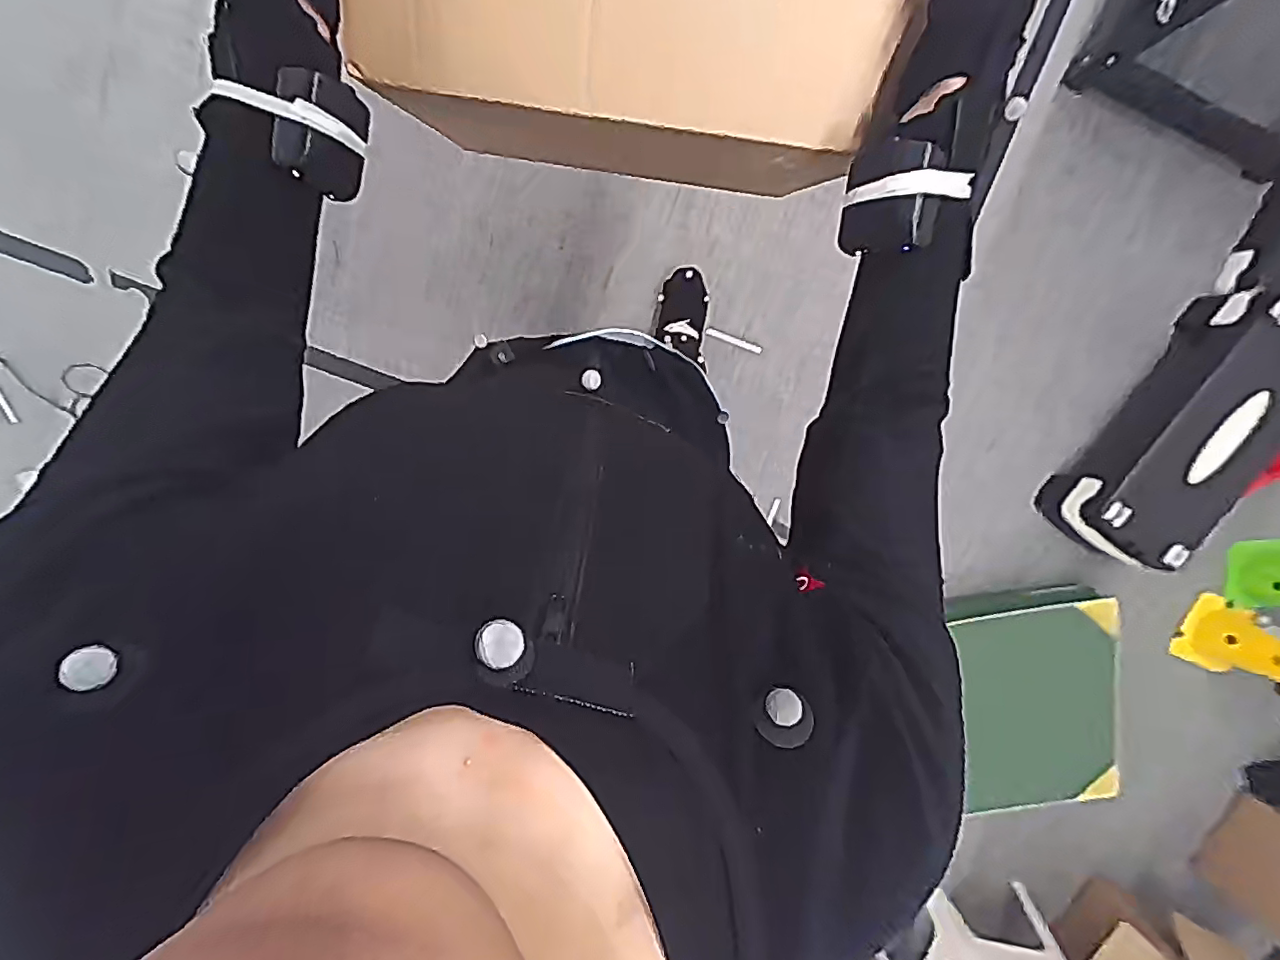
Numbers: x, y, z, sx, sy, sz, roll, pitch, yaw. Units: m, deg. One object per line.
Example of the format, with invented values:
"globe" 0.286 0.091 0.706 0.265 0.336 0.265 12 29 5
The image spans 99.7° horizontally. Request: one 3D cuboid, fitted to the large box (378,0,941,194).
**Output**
"large box" 0.018 -0.467 0.487 0.408 0.320 0.320 5 113 -5
